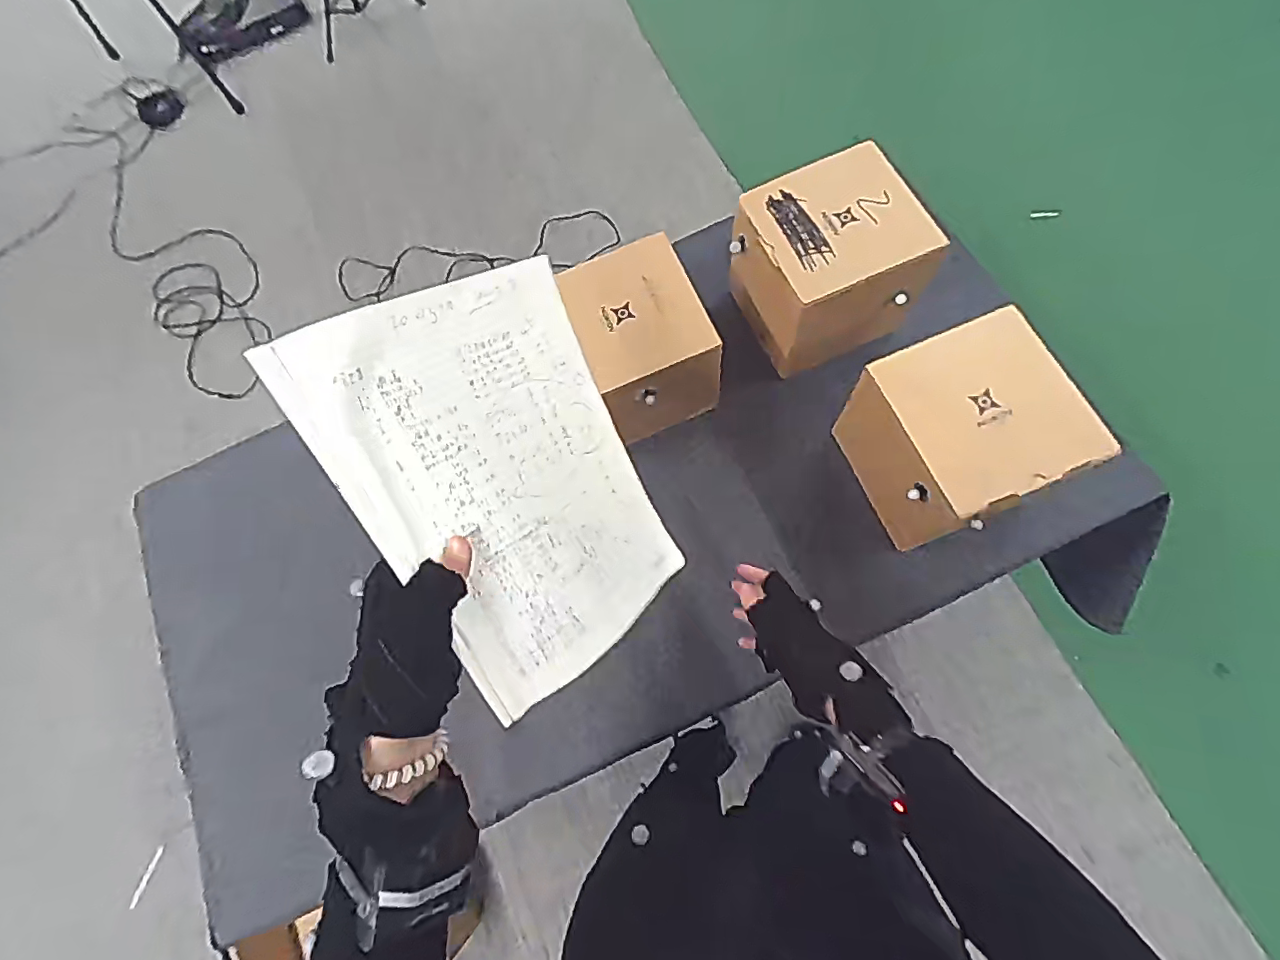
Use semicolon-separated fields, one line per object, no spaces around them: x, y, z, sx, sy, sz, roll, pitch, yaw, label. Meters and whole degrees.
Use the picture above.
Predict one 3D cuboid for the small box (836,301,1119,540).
0.342;-0.054;0.596;0.168;0.176;0.179;-22;72;-1;small box
